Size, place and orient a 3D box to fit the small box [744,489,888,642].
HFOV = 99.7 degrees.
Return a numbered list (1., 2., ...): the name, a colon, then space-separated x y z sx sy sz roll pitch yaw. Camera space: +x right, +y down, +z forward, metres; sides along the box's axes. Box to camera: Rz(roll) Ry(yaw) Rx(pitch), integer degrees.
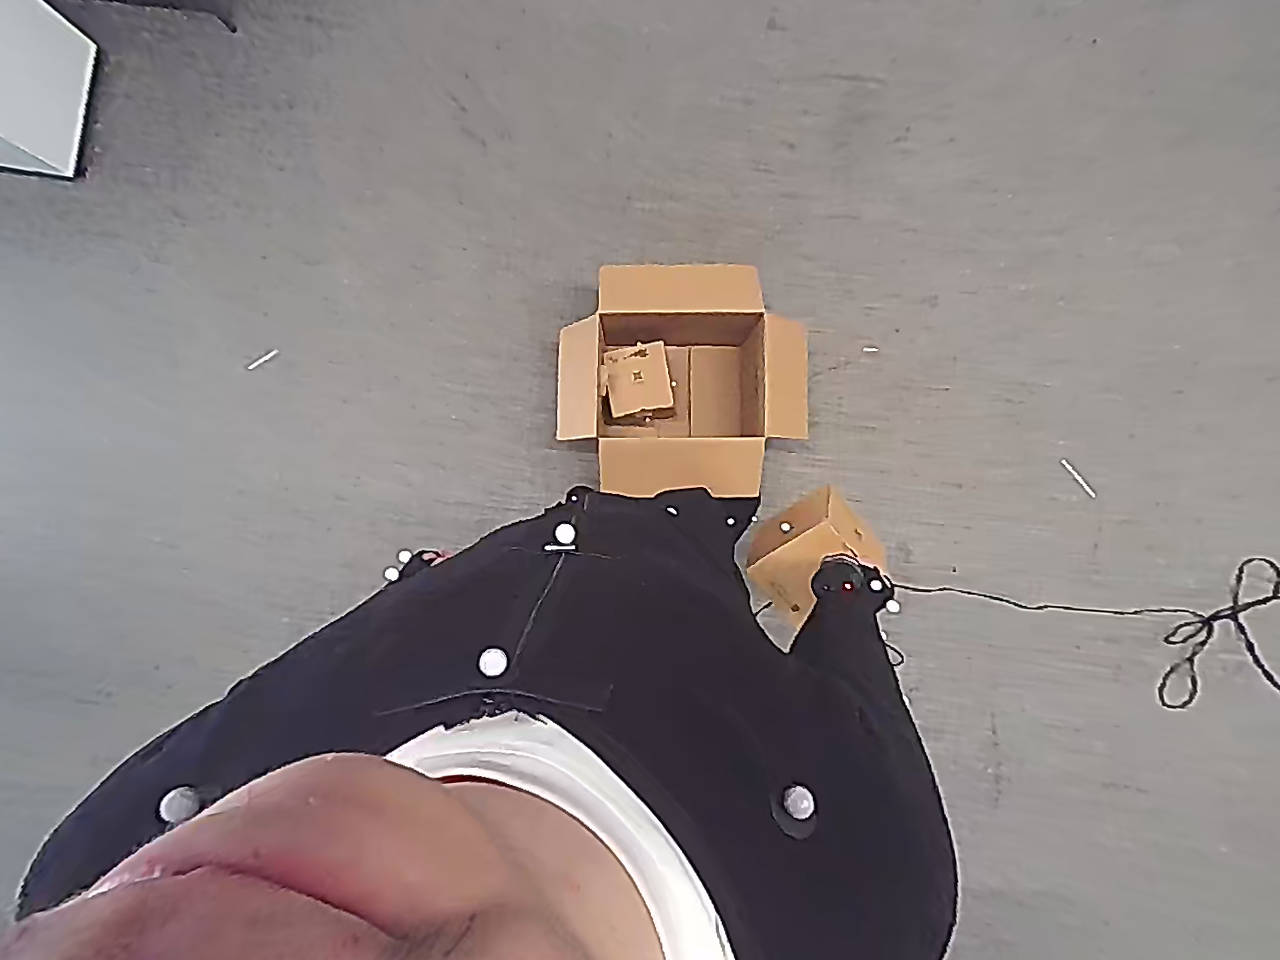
1. small box: 0.301 0.147 0.937 0.176 0.179 0.168 -38 91 27
